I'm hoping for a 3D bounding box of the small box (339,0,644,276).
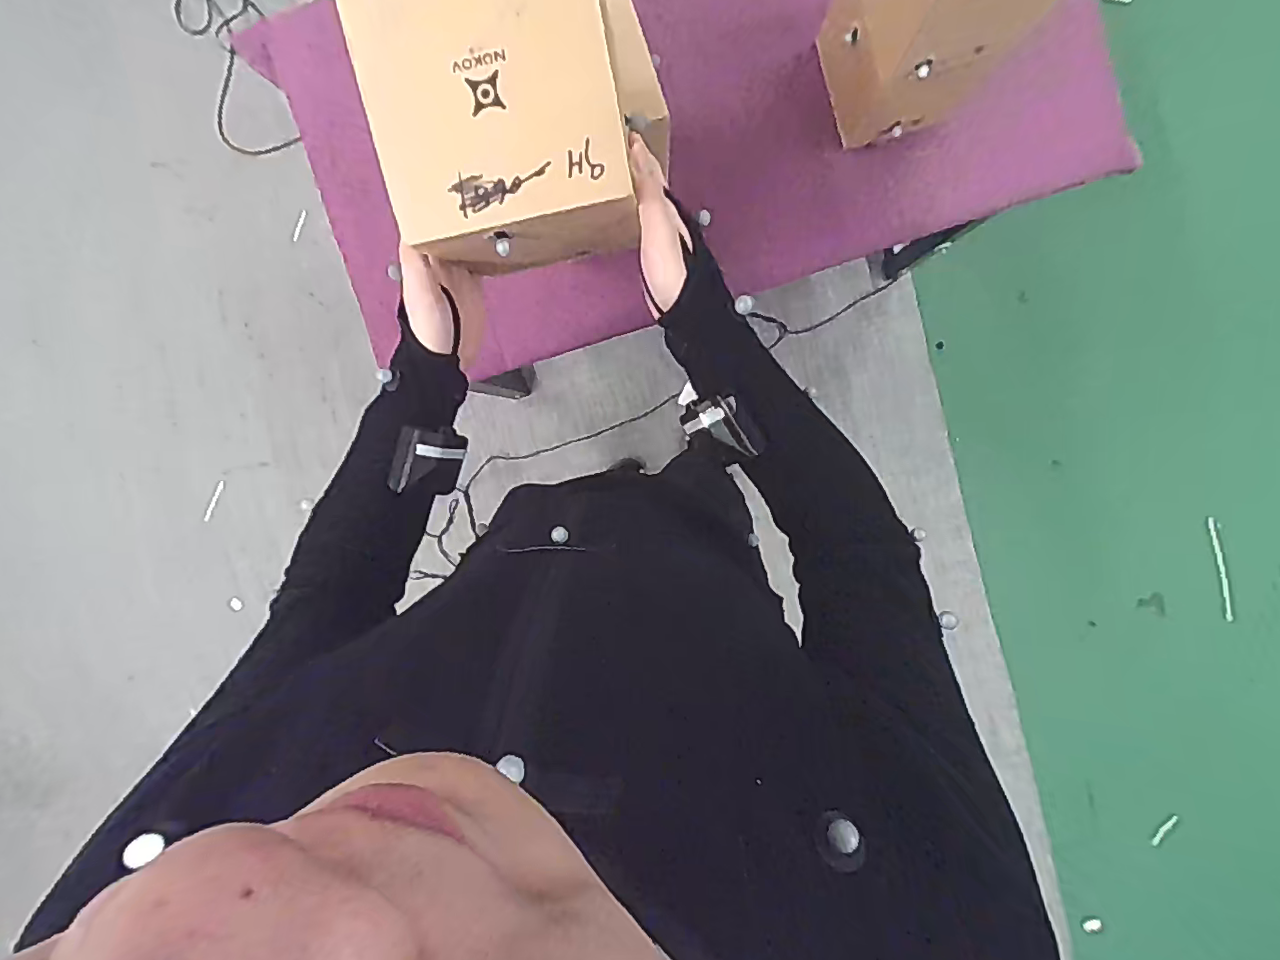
[{"bbox_3d":[-0.094,-0.274,0.421,0.168,0.176,0.179,-9,103,7],"label":"small box"}]

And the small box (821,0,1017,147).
[{"bbox_3d":[0.361,-0.601,0.734,0.168,0.176,0.179,-15,94,6],"label":"small box"}]

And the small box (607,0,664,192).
[{"bbox_3d":[-0.074,-0.421,0.606,0.168,0.176,0.179,-19,95,4],"label":"small box"}]
